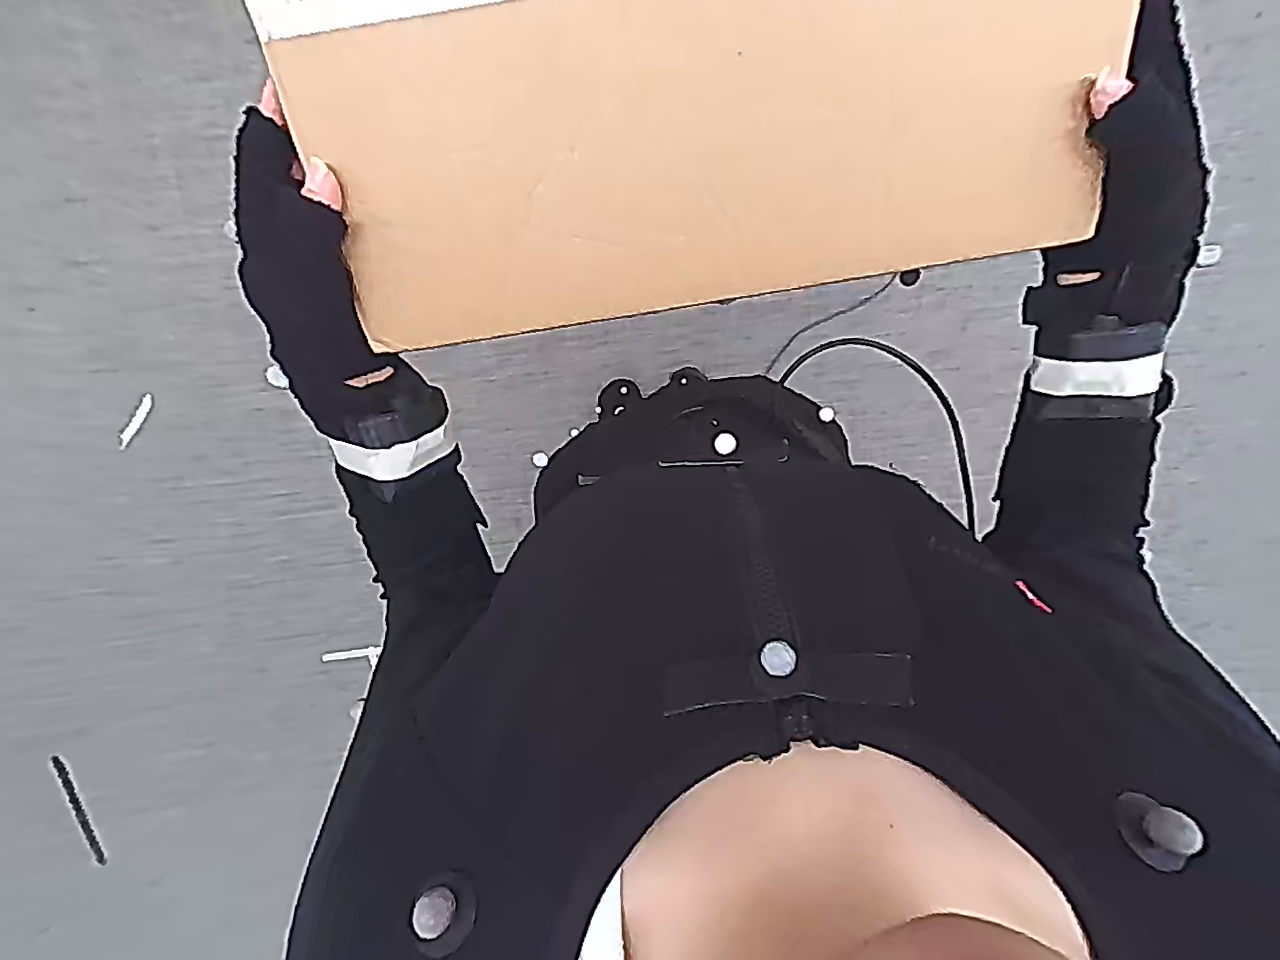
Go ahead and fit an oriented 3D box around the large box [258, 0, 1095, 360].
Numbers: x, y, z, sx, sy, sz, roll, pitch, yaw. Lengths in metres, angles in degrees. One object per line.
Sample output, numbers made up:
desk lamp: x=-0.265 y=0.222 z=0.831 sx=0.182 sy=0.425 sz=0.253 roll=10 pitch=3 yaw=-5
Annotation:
large box: x=0.016 y=-0.302 z=0.386 sx=0.408 sy=0.320 sz=0.320 roll=-9 pitch=114 yaw=2
